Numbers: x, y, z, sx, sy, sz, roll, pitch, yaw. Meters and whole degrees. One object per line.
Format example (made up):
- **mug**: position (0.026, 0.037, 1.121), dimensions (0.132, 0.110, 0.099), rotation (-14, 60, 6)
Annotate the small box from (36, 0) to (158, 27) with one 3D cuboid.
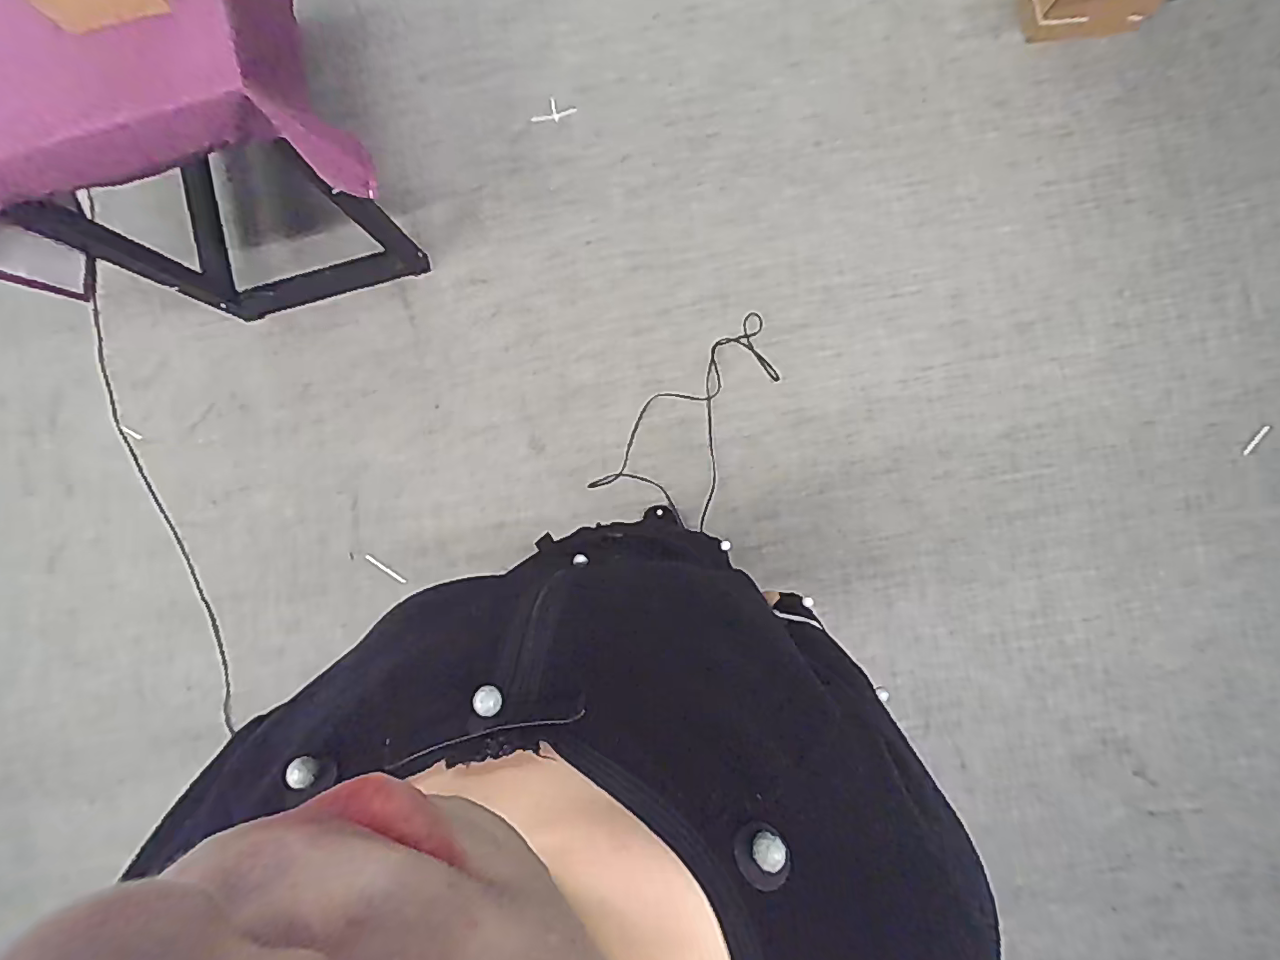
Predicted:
- **small box**: position (-0.837, -0.812, 0.778), dimensions (0.179, 0.176, 0.168), rotation (-11, 87, 3)
